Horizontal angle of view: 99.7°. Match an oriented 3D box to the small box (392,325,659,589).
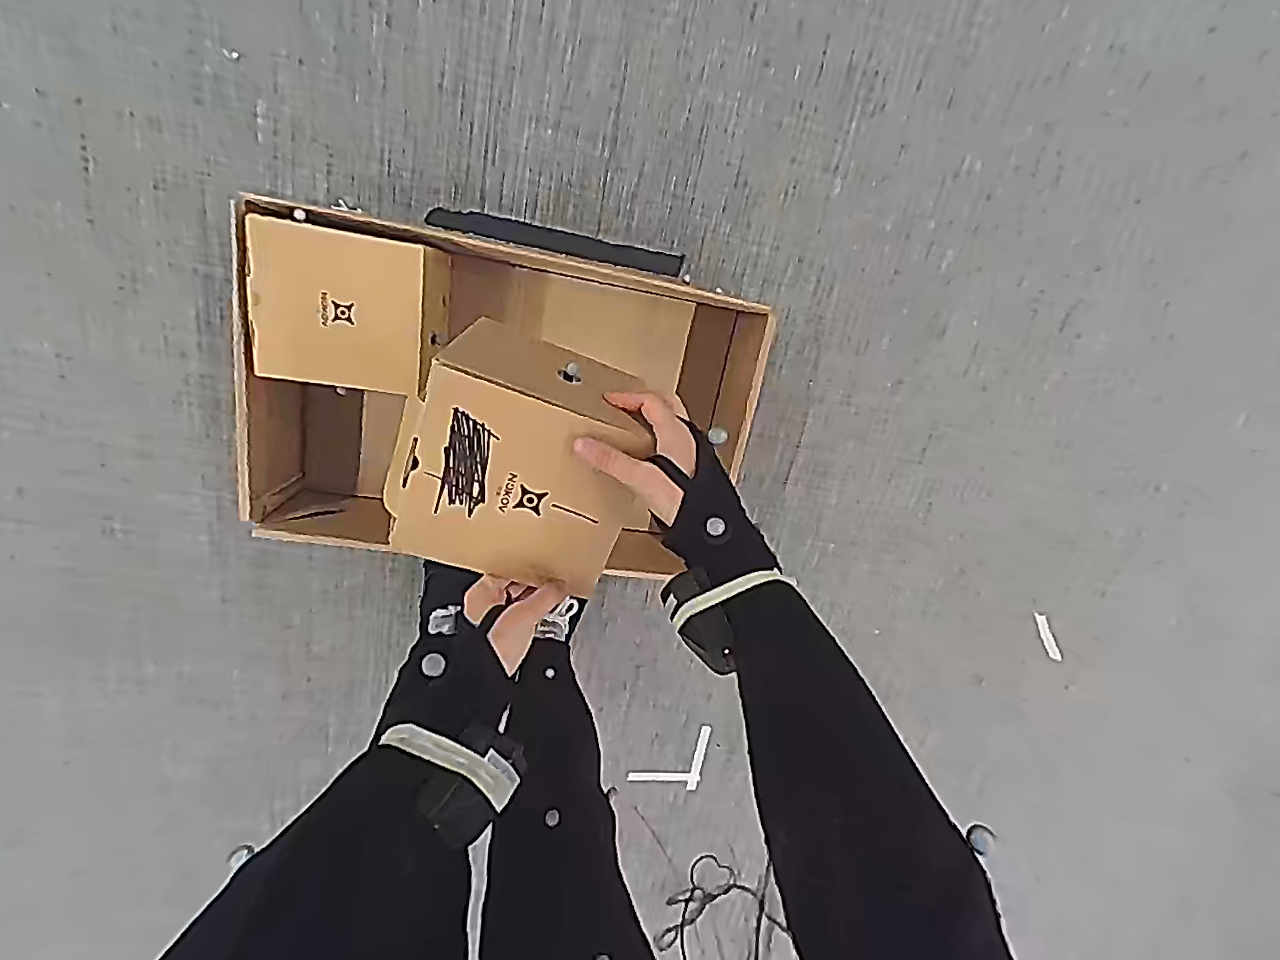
[{"bbox_3d":[-0.100,-0.032,0.502,0.179,0.176,0.168,18,114,-13],"label":"small box"}]
